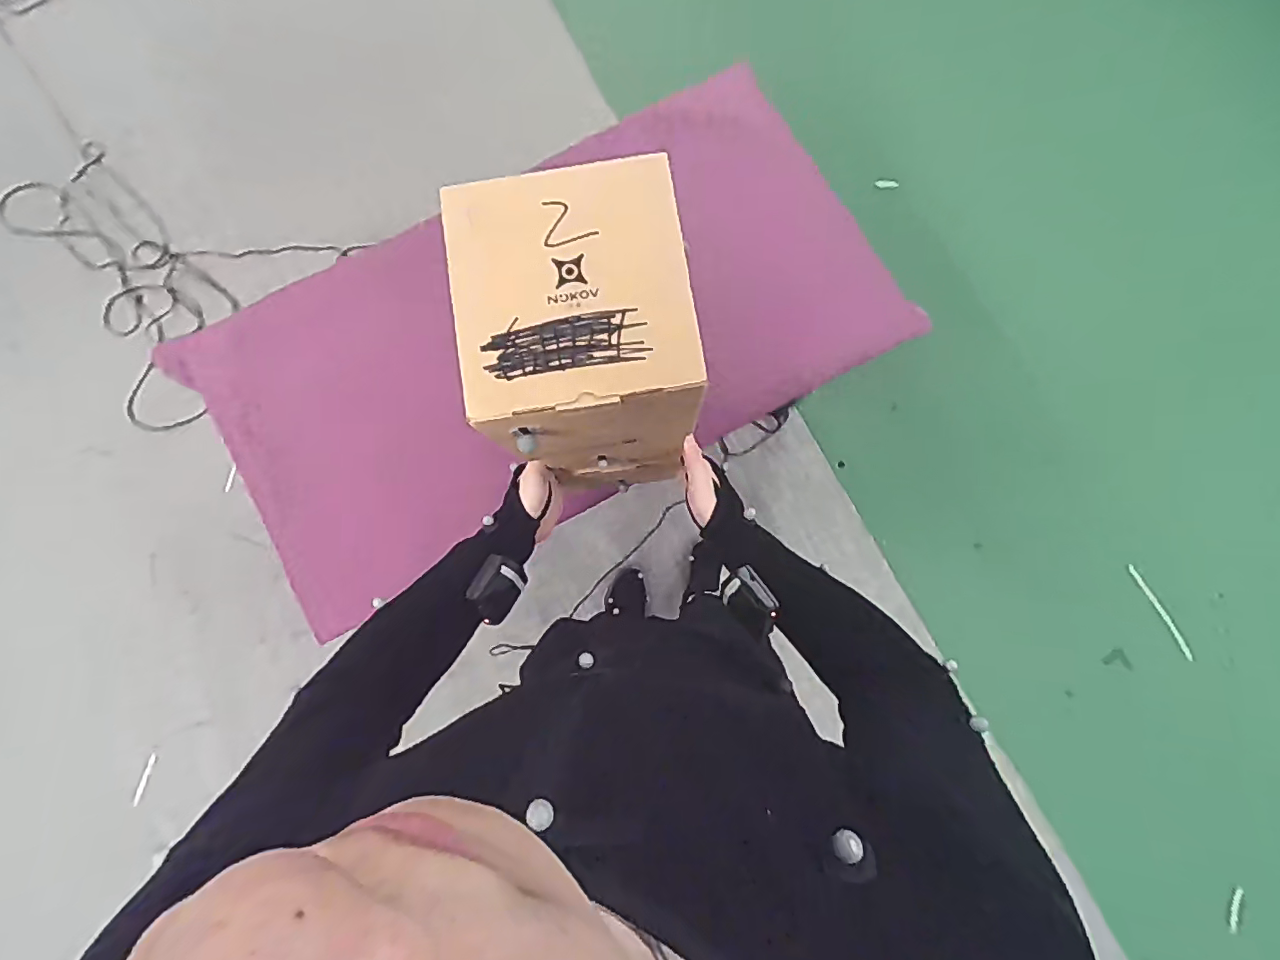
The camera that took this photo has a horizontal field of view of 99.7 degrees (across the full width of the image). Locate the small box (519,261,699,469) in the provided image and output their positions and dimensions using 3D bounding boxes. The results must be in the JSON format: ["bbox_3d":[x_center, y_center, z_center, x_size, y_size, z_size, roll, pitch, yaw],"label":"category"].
[{"bbox_3d":[-0.033,-0.117,0.608,0.168,0.176,0.179,-7,84,0],"label":"small box"}]

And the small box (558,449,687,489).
[{"bbox_3d":[-0.030,-0.090,0.768,0.168,0.176,0.179,-7,83,1],"label":"small box"}]
